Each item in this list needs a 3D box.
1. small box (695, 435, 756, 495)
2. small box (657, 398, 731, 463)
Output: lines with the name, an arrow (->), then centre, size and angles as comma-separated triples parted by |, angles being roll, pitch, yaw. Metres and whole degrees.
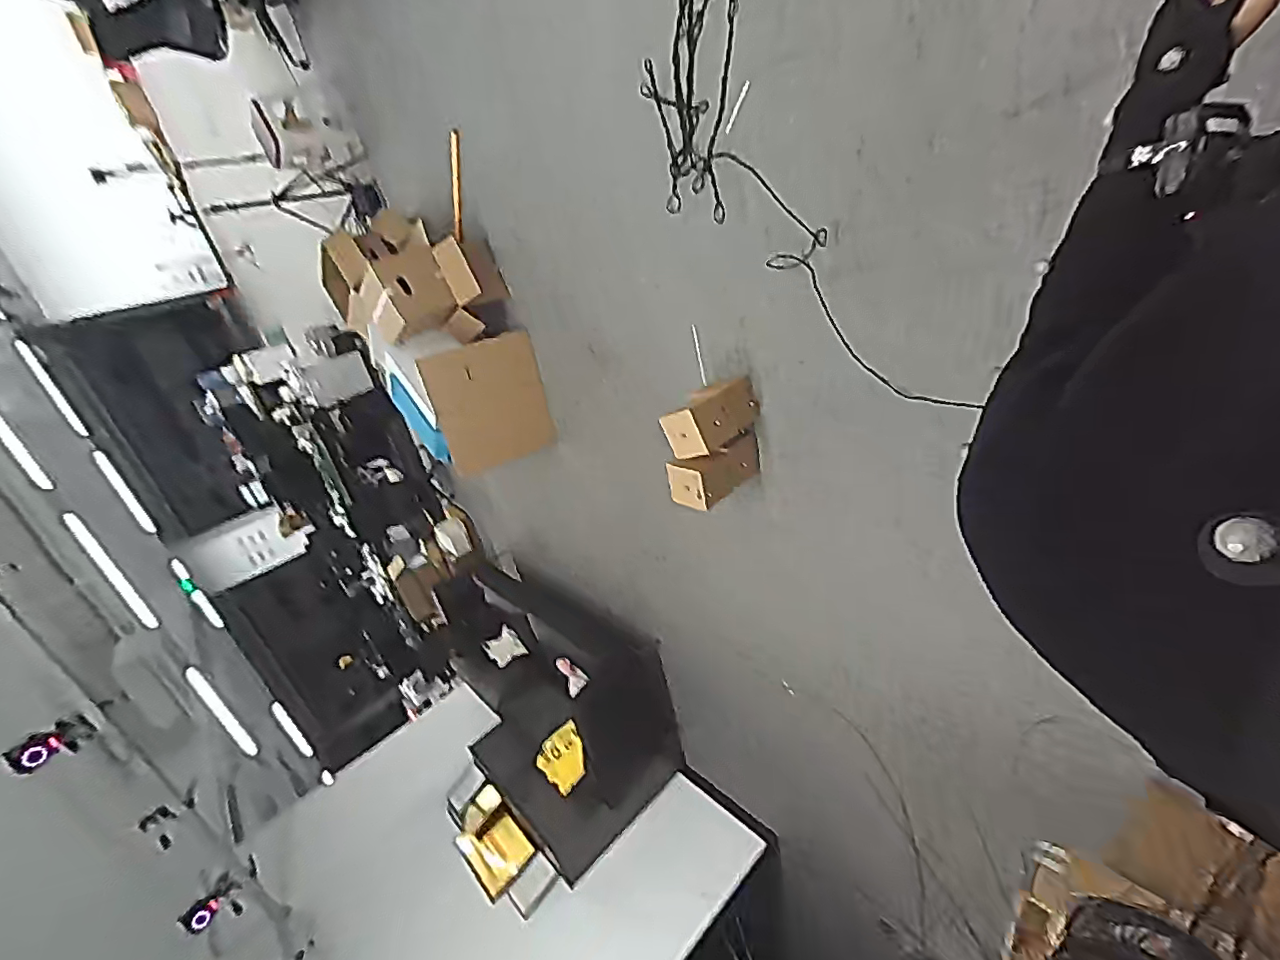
small box -> 0.335, -0.070, 2.113 | 0.168, 0.176, 0.179 | 16, 129, 47
small box -> 0.199, -0.176, 1.911 | 0.179, 0.176, 0.168 | -8, 110, 55
